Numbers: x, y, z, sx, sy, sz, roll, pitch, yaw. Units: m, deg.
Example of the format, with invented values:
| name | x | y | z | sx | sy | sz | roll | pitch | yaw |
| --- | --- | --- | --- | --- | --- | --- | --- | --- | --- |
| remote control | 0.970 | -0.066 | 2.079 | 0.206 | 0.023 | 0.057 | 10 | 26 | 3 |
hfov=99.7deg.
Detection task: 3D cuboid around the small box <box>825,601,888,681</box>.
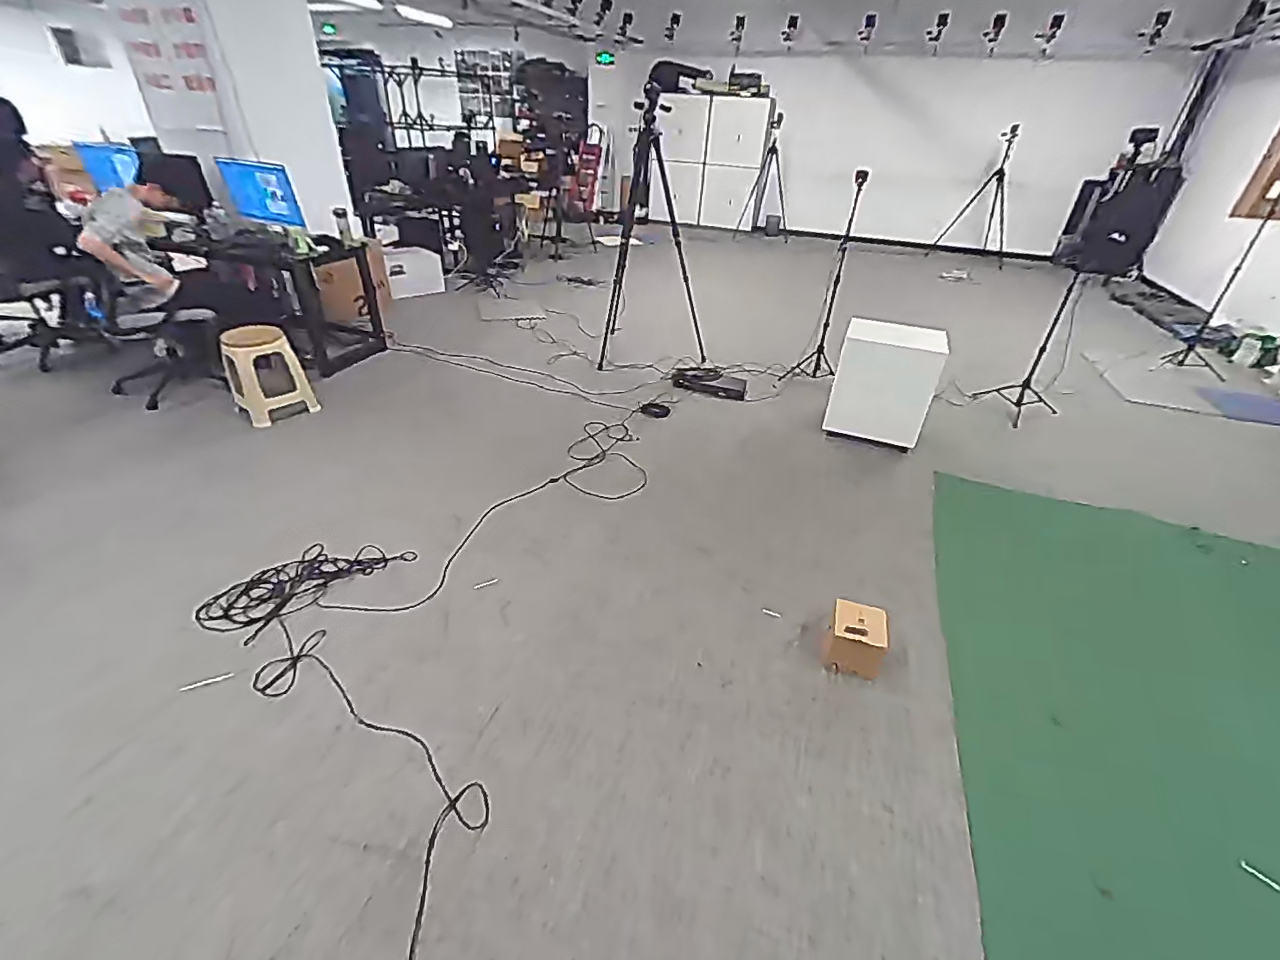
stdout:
| name | x | y | z | sx | sy | sz | roll | pitch | yaw |
| --- | --- | --- | --- | --- | --- | --- | --- | --- | --- |
| small box | 0.731 | 0.547 | 1.830 | 0.168 | 0.176 | 0.179 | 13 | 35 | 15 |
